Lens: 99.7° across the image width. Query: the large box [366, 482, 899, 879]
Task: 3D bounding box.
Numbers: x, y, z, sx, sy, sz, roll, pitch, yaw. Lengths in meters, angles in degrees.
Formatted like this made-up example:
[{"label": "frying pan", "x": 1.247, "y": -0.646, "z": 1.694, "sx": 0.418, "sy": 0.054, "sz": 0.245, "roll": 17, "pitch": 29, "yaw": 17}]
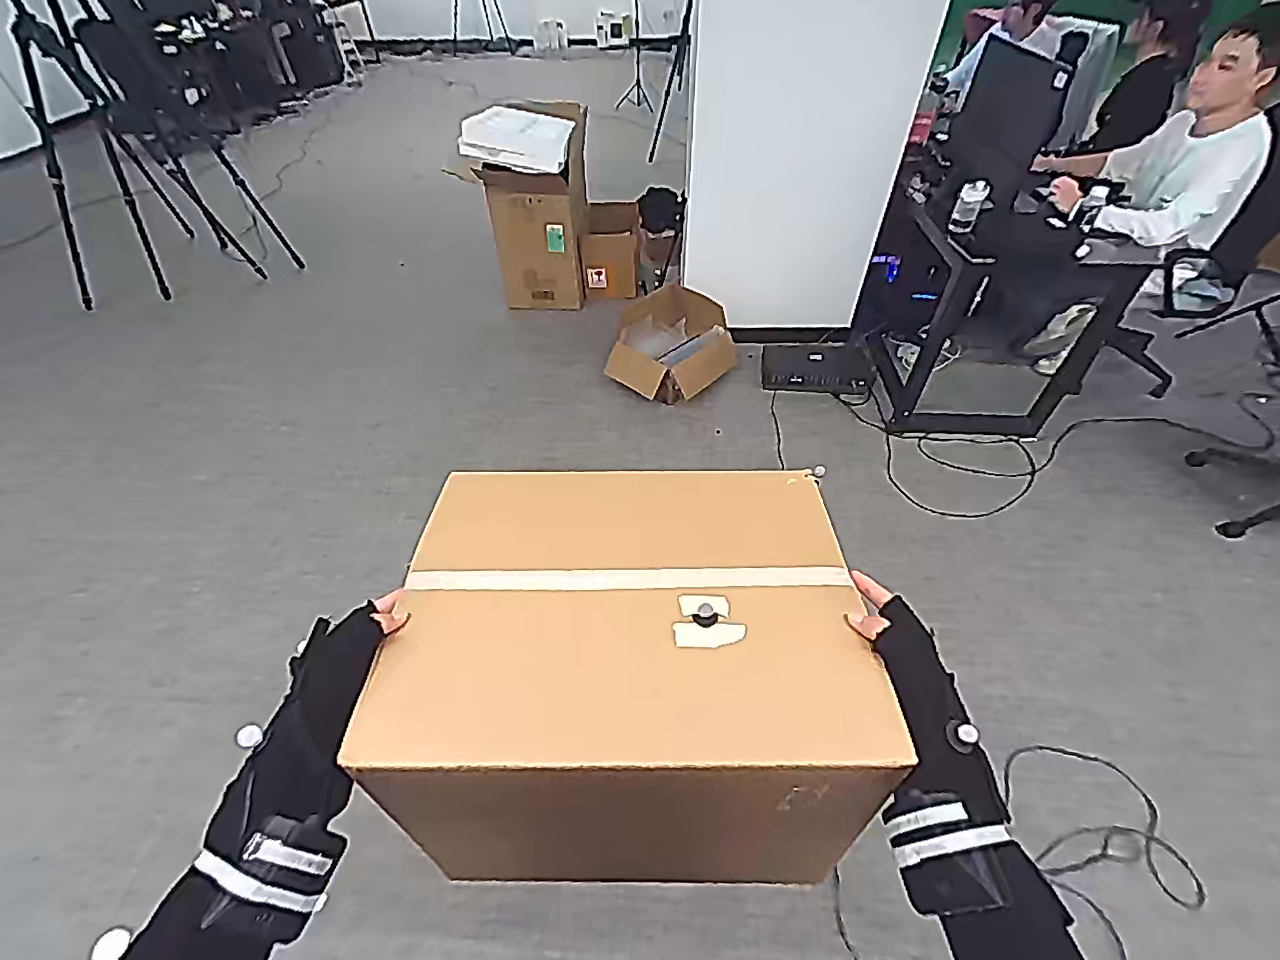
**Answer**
[{"label": "large box", "x": -0.006, "y": 0.216, "z": 0.604, "sx": 0.408, "sy": 0.320, "sz": 0.320, "roll": 0, "pitch": 41, "yaw": 1}]
